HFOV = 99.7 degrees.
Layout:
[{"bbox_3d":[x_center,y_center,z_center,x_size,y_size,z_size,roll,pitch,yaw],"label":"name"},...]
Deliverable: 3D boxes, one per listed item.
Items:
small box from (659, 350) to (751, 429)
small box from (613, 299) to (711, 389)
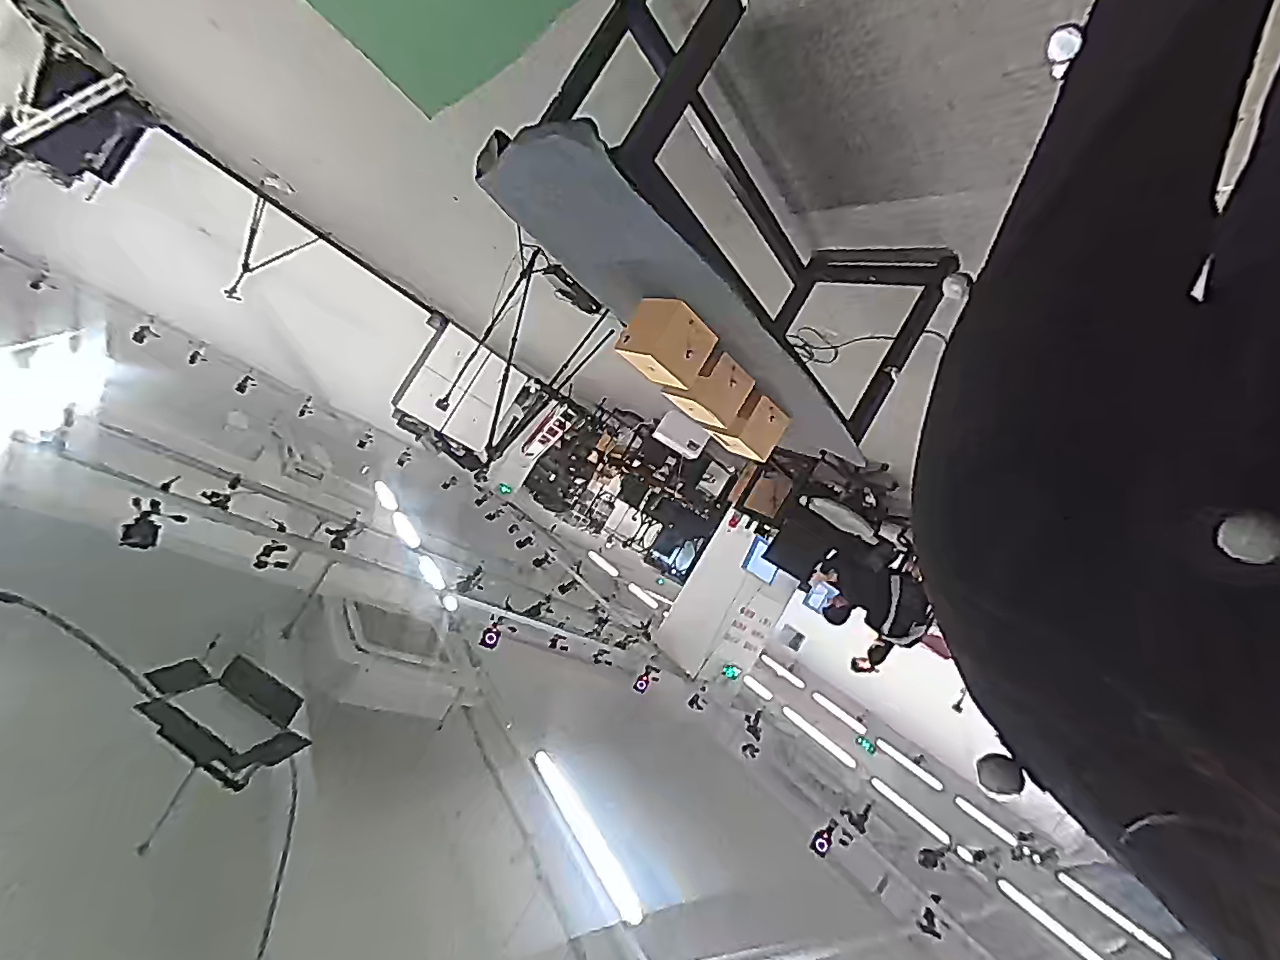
[{"bbox_3d":[0.195,-0.280,1.615,0.168,0.176,0.179,33,176,-38],"label":"small box"},{"bbox_3d":[0.067,-0.369,1.454,0.168,0.176,0.179,33,177,-38],"label":"small box"}]
